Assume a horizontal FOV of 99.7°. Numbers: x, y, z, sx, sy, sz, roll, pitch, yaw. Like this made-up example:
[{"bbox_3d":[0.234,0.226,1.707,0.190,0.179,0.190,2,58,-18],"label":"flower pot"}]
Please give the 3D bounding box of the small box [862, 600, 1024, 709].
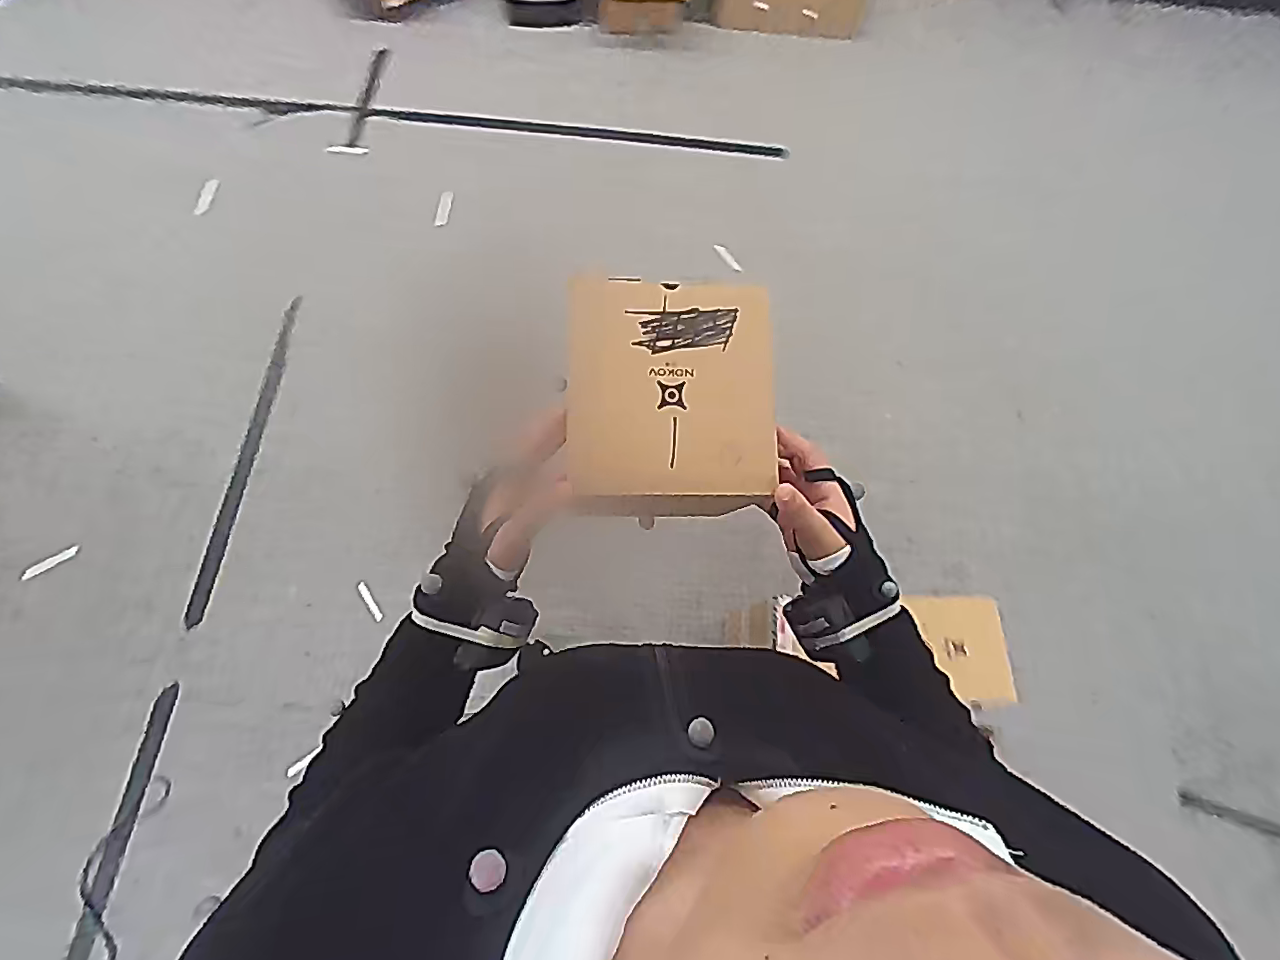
[{"bbox_3d":[0.515,0.305,0.945,0.179,0.176,0.168,0,69,0],"label":"small box"}]
